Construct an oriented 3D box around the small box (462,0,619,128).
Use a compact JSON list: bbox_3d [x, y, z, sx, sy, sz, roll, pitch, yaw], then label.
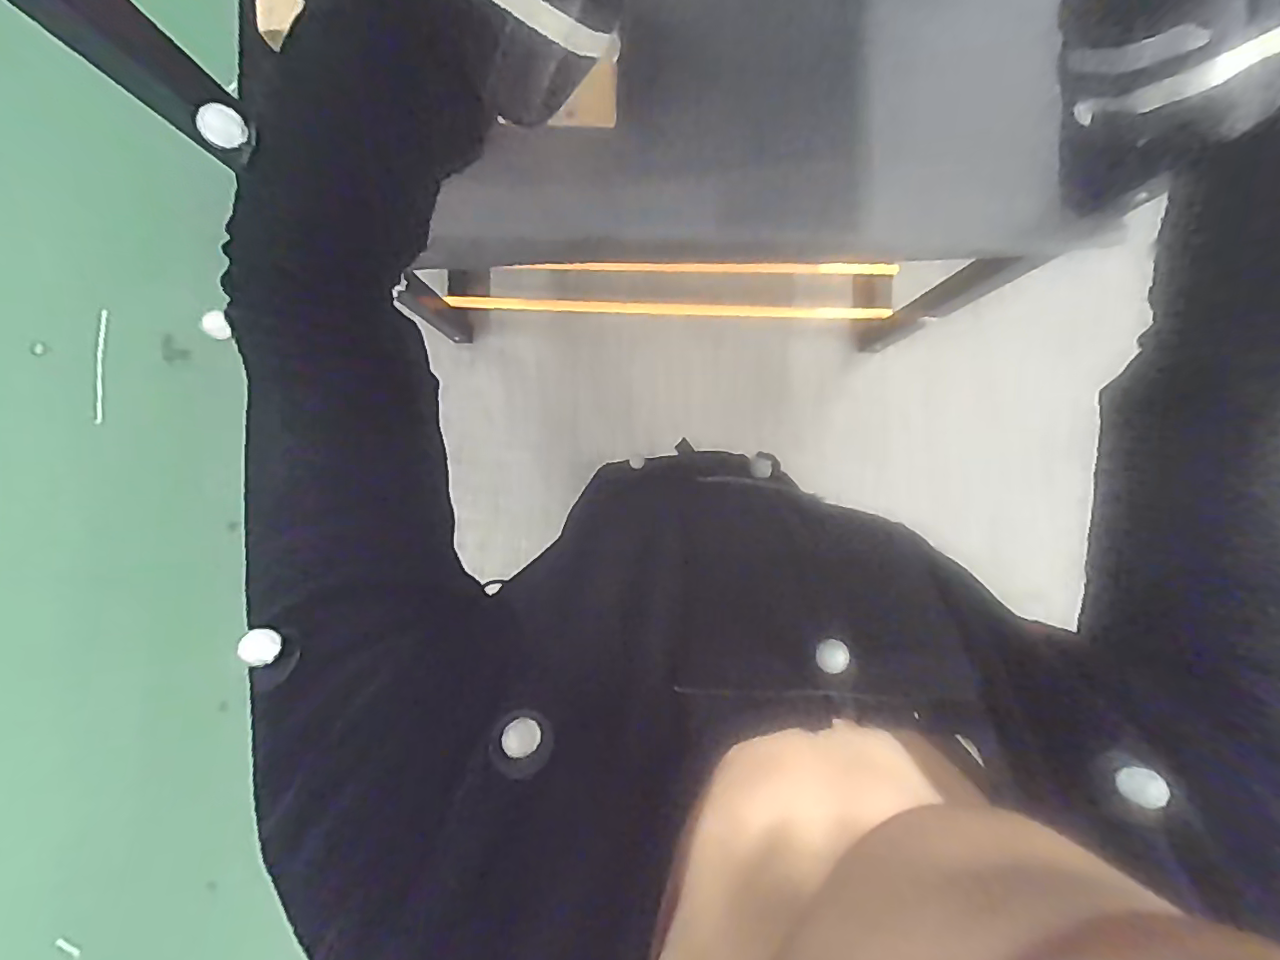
[{"bbox_3d":[-0.113,-0.578,0.679,0.168,0.176,0.179,1,89,0],"label":"small box"}]
